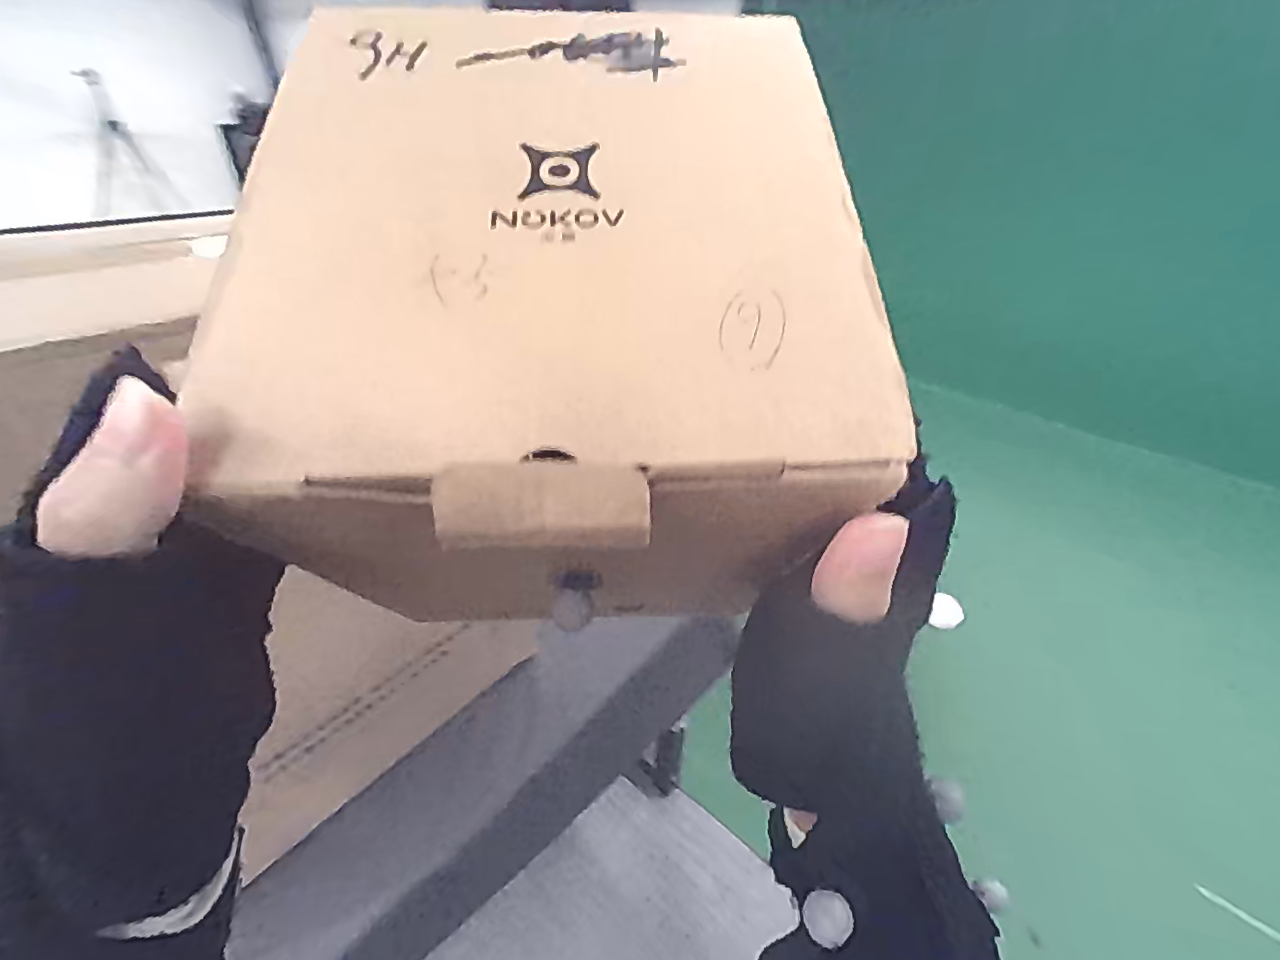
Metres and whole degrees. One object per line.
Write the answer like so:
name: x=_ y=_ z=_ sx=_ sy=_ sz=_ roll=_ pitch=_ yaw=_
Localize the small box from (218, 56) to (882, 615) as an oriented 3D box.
small box: x=-0.024 y=-0.038 z=0.235 sx=0.168 sy=0.176 sz=0.179 roll=-2 pitch=68 yaw=-2
